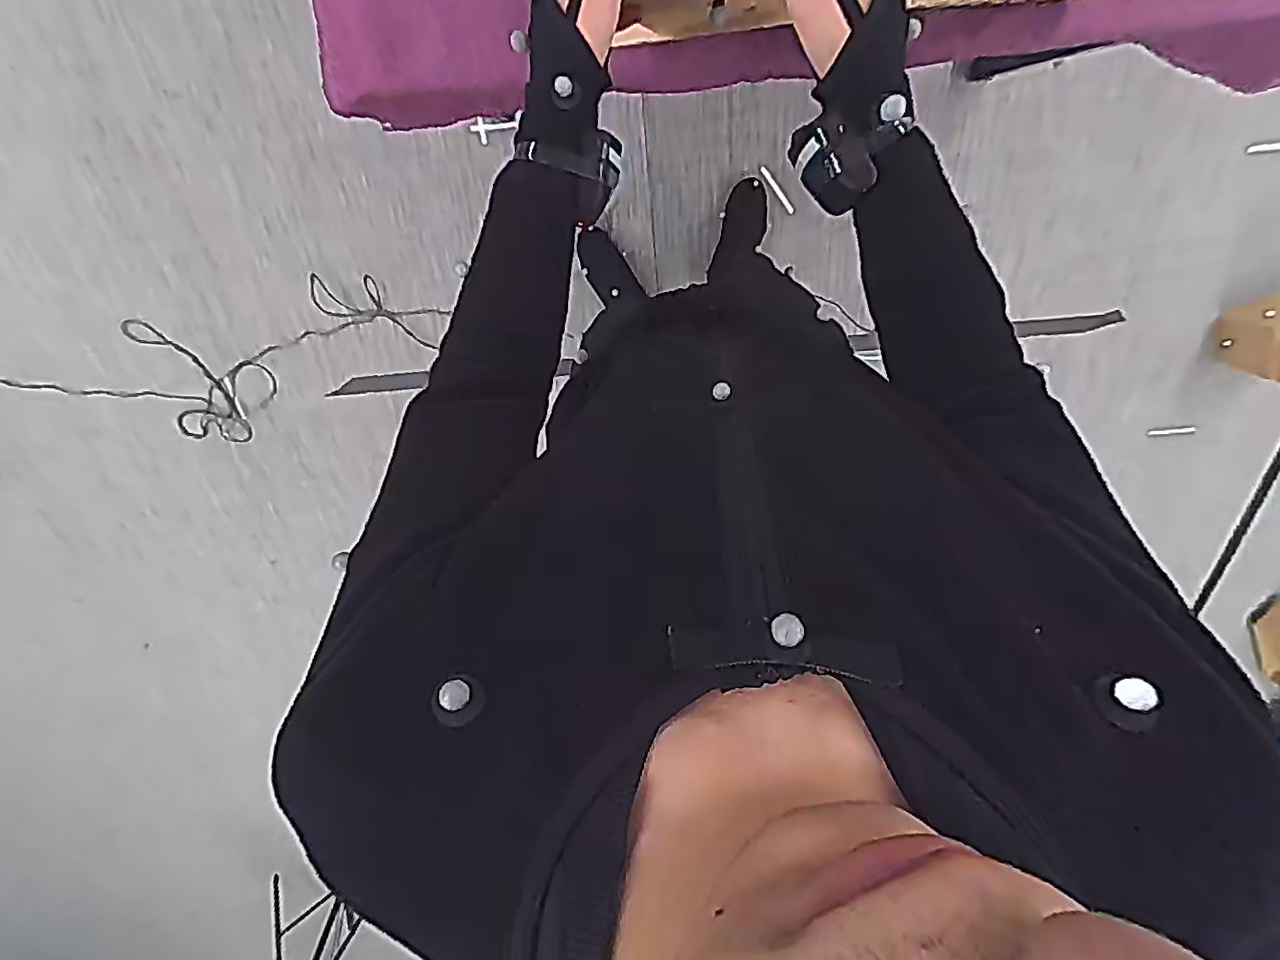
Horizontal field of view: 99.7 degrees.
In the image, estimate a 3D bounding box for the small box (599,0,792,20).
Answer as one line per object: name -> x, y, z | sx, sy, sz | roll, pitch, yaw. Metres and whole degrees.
small box -> 0.057, -0.493, 0.428 | 0.168, 0.176, 0.179 | 4, 123, 16
